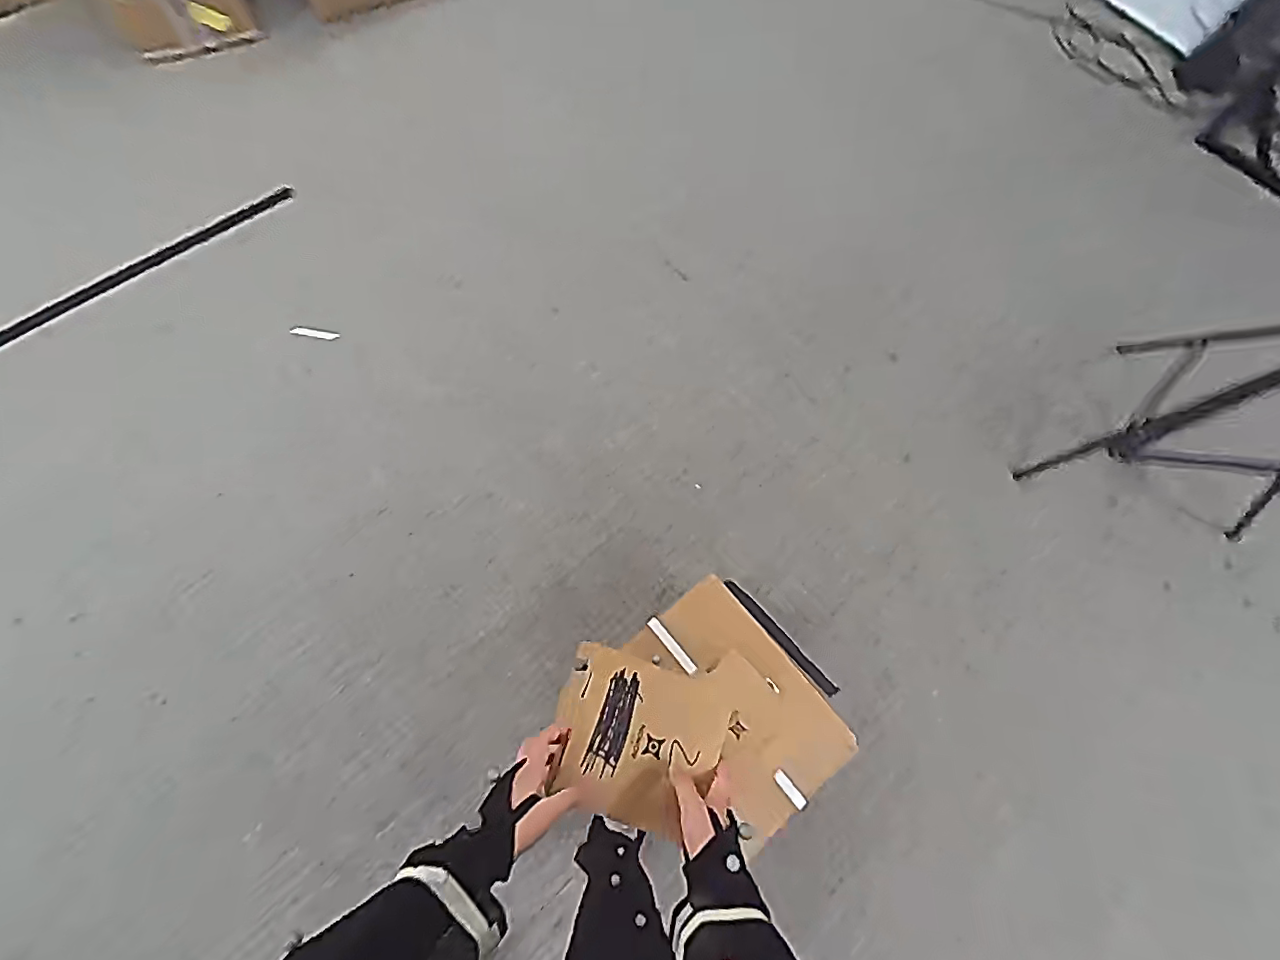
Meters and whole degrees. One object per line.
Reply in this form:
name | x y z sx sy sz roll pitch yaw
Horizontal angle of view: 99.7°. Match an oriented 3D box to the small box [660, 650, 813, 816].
small box | 0.148 0.409 0.903 0.168 0.176 0.179 -40 77 -13
